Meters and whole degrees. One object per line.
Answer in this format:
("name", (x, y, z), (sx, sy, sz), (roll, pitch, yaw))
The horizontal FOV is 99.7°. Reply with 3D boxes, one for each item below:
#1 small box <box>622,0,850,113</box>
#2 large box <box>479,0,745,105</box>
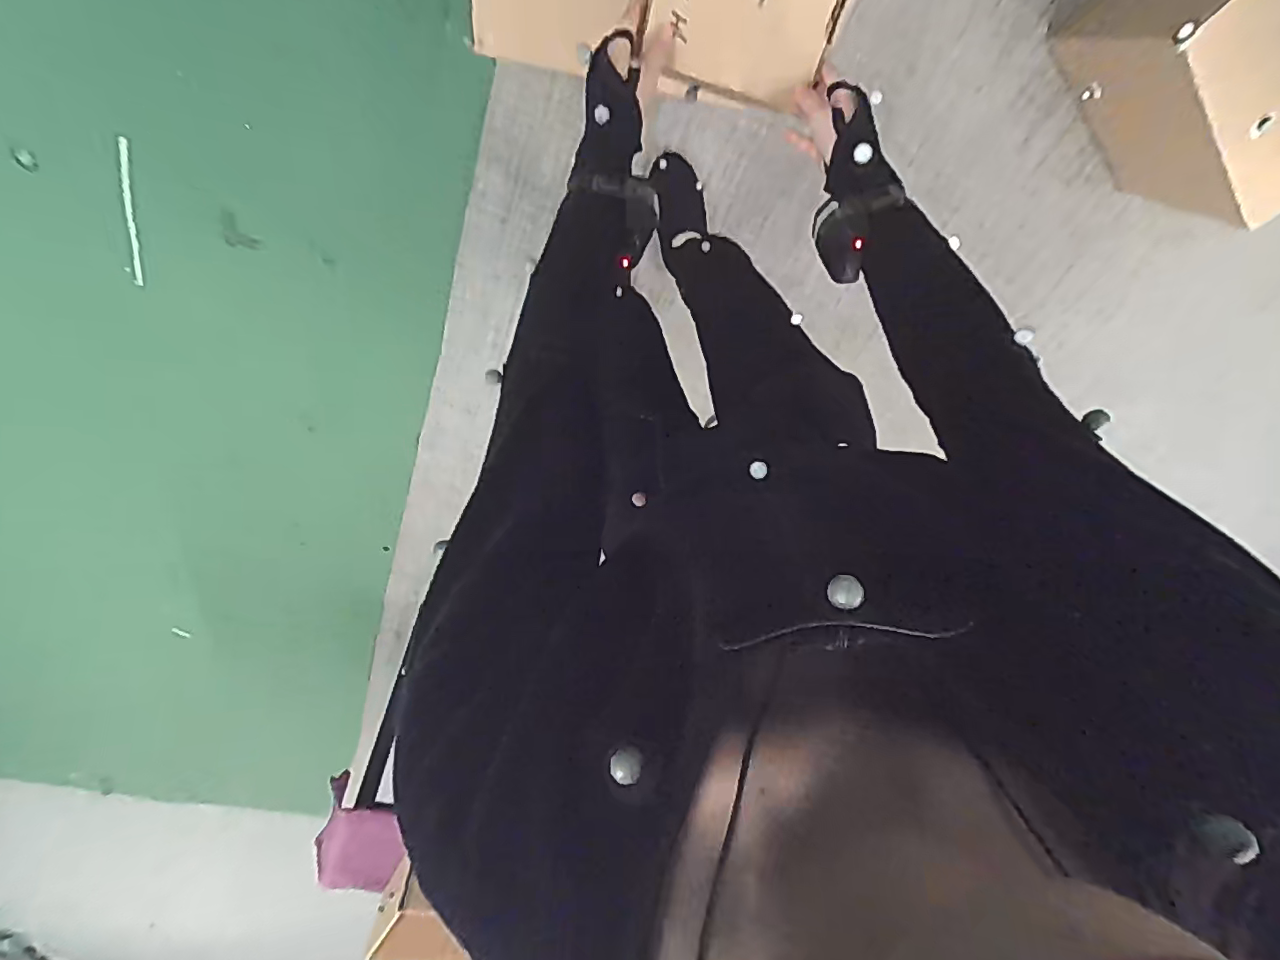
("small box", (0.094, -0.488, 0.532), (0.179, 0.176, 0.168), (7, 125, -17))
("large box", (-0.008, -0.796, 0.812), (0.408, 0.320, 0.320), (7, 128, -6))
